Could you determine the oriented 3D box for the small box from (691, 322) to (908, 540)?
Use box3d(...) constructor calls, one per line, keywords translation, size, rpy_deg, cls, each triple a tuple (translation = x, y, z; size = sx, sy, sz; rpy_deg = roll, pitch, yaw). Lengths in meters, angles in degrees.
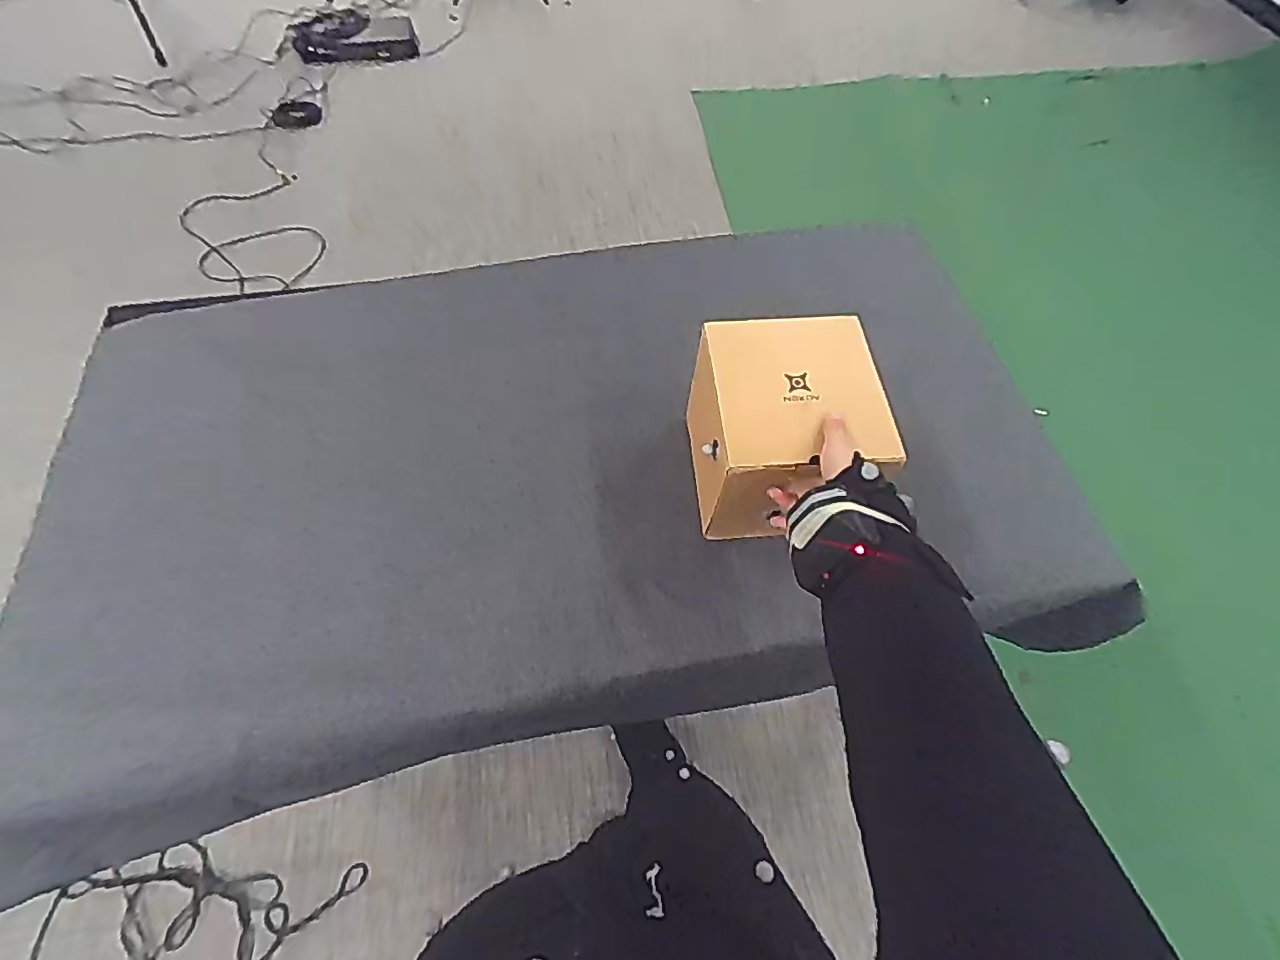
box3d(translation=(0.153, -0.049, 0.594), size=(0.168, 0.176, 0.179), rpy_deg=(-3, 63, -4), cls="small box")
